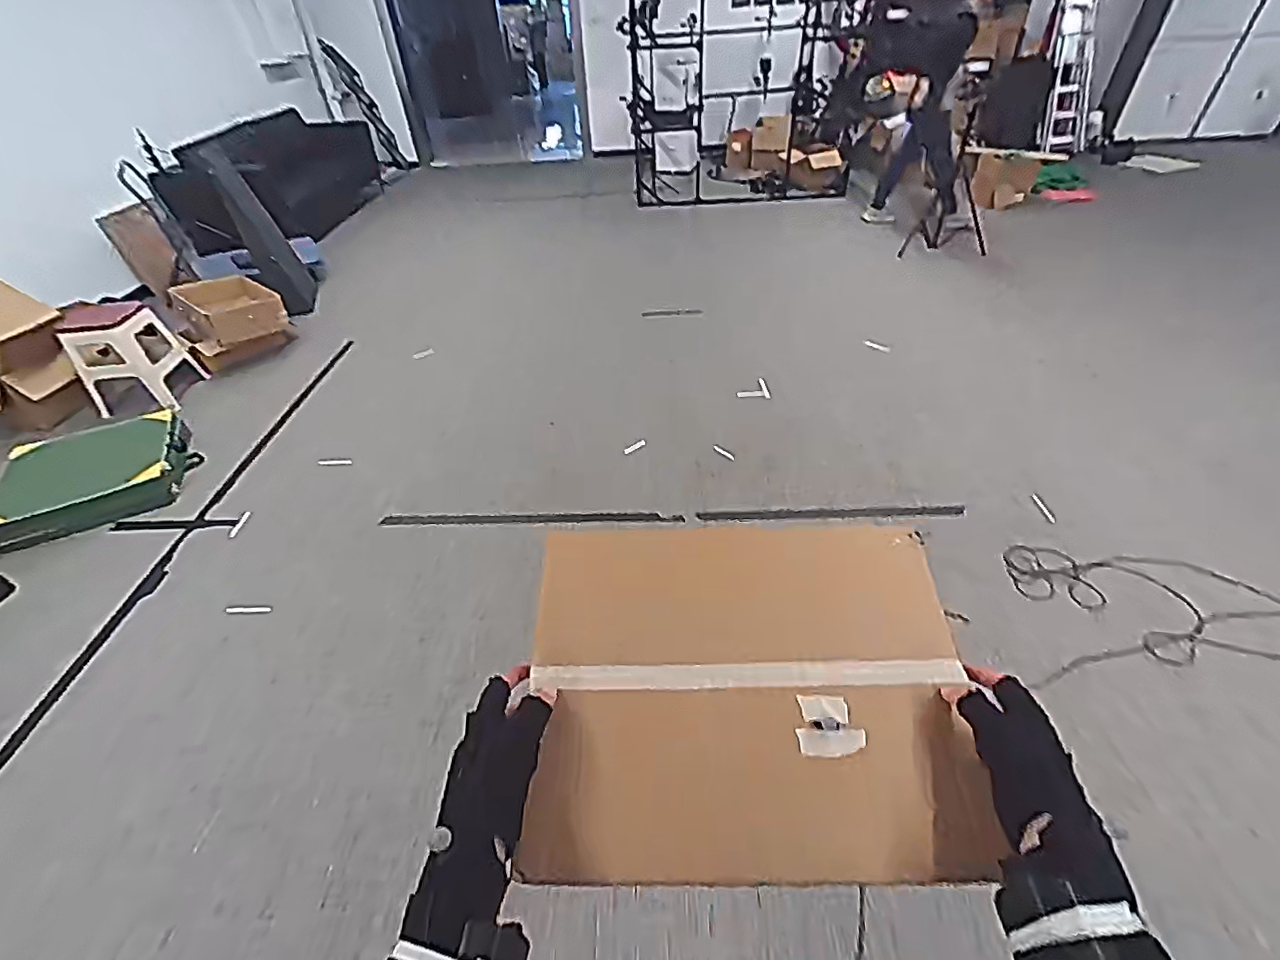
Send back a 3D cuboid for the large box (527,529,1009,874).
[{"bbox_3d":[0.104,0.271,0.645,0.408,0.320,0.320,-1,56,1],"label":"large box"}]
